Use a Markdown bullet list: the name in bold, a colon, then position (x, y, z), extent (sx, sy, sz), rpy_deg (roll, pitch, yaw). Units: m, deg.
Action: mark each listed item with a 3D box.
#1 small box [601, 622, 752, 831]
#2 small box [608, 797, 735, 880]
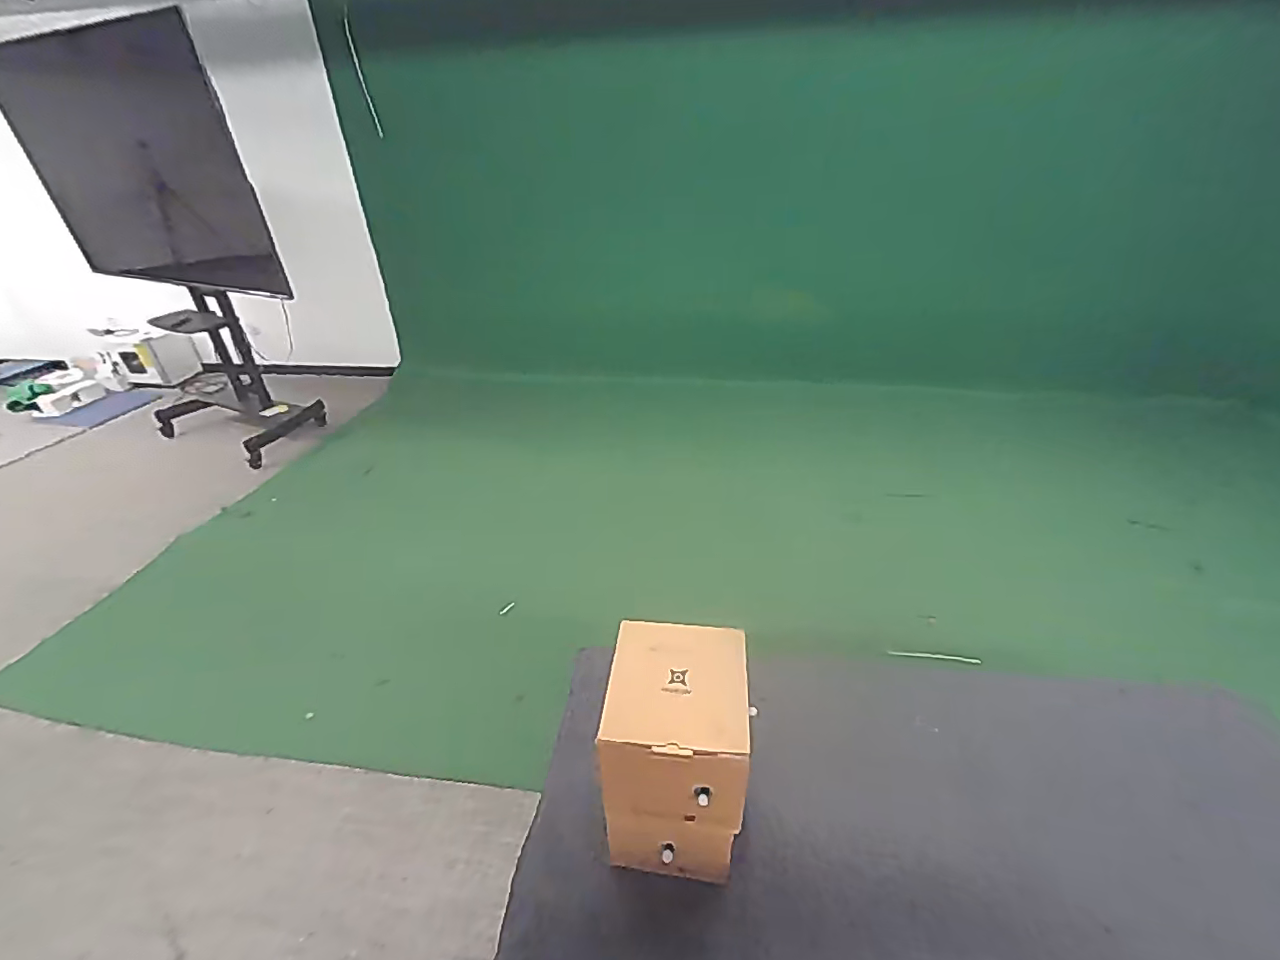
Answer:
- **small box**: position (0.051, 0.309, 0.685), extent (0.168, 0.176, 0.179), rpy_deg (3, 32, 6)
- **small box**: position (0.055, 0.439, 0.783), extent (0.168, 0.176, 0.179), rpy_deg (4, 33, 8)
